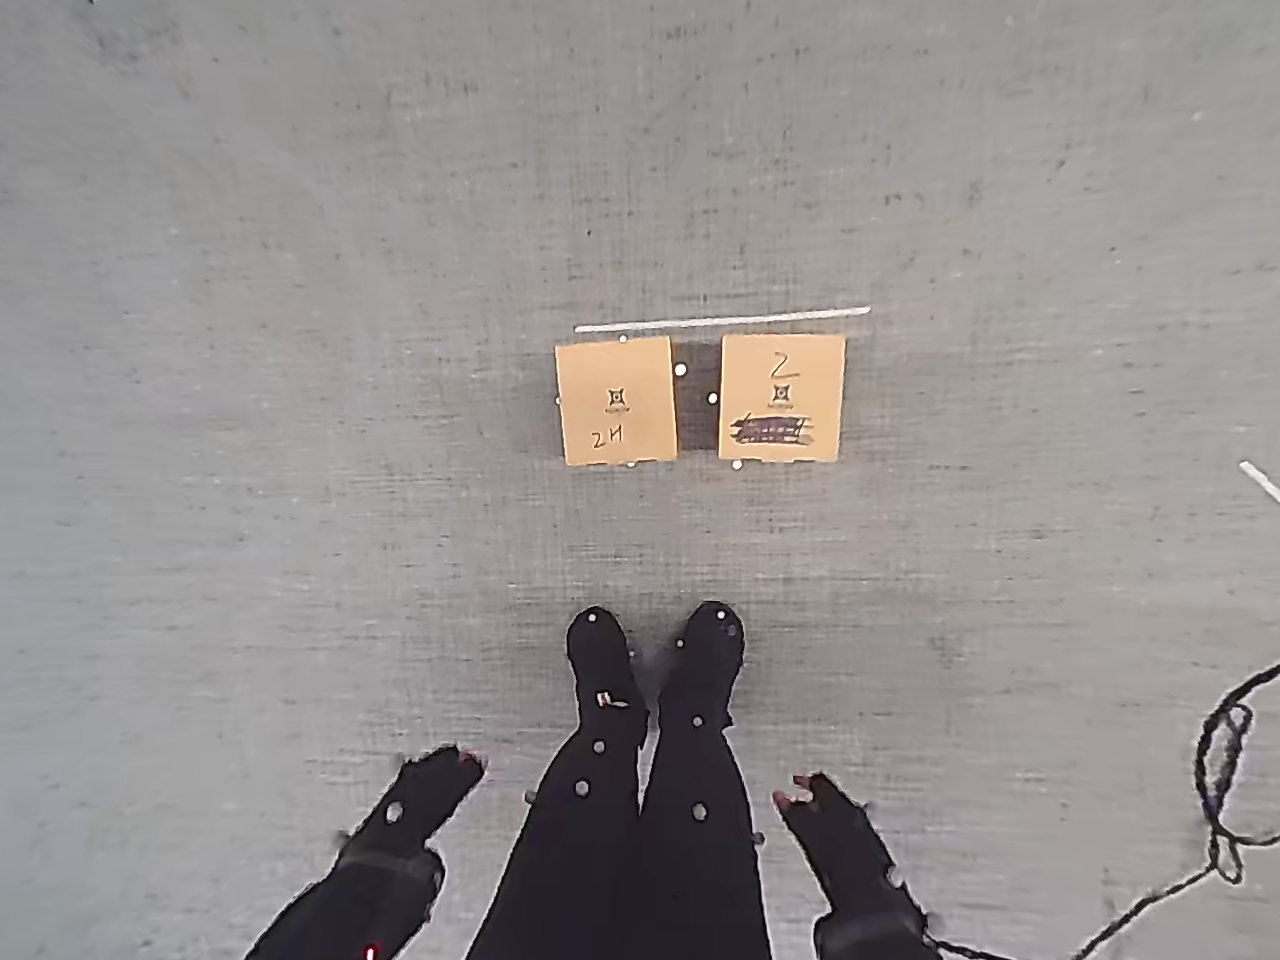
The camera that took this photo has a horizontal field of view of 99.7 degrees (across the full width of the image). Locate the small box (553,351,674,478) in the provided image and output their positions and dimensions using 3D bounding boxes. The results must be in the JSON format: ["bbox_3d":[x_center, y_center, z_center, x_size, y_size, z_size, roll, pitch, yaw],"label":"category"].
[{"bbox_3d":[-0.034,-0.100,0.854,0.168,0.176,0.179,-3,96,7],"label":"small box"}]
